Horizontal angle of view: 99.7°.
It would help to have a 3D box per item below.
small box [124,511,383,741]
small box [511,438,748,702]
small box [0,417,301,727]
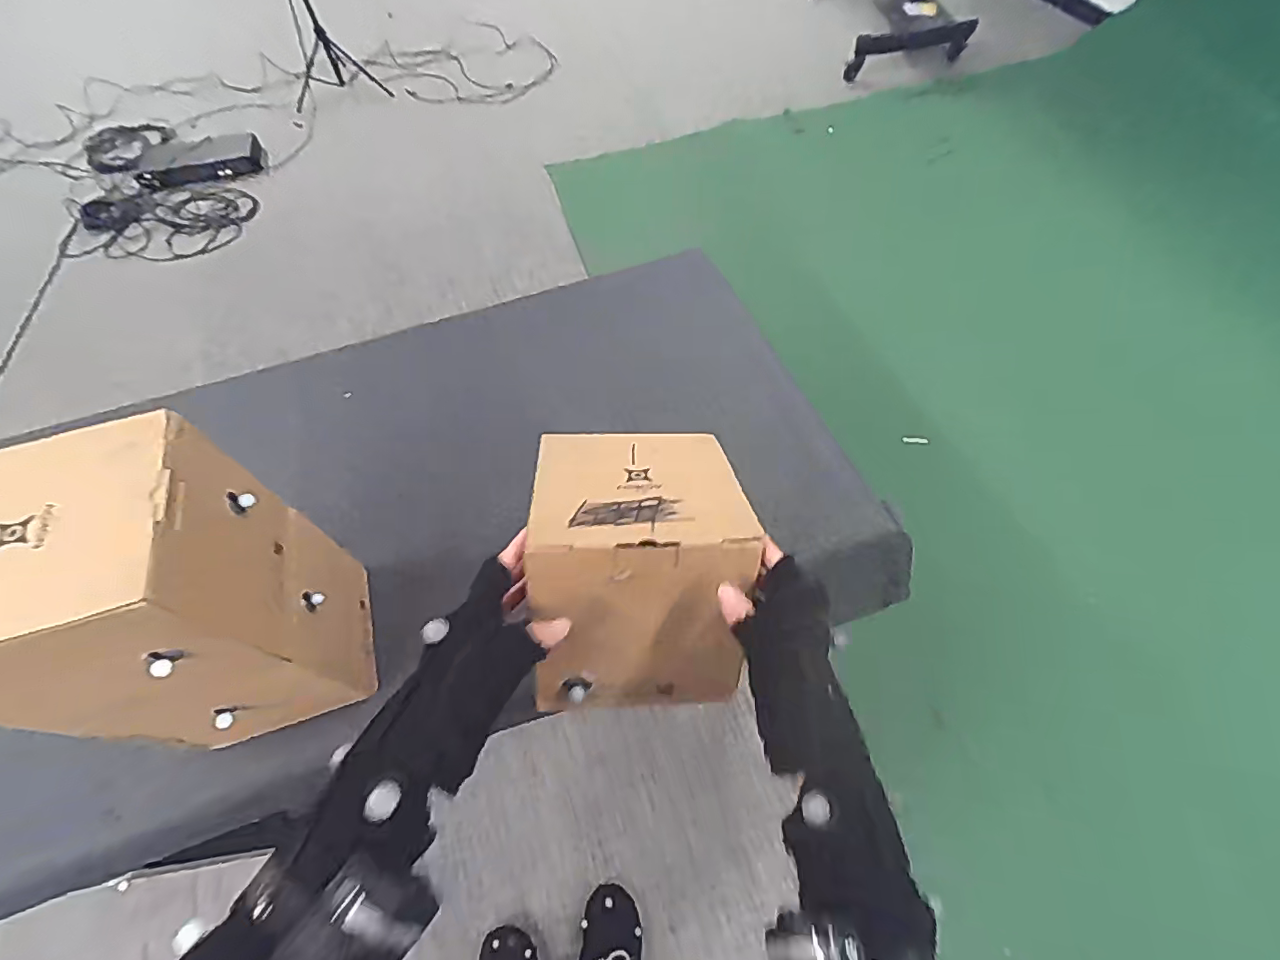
[{"bbox_3d":[-0.405,0.163,0.582,0.179,0.176,0.168,-17,60,-9],"label":"small box"},{"bbox_3d":[-0.013,0.076,0.475,0.168,0.176,0.179,0,30,-5],"label":"small box"},{"bbox_3d":[-0.407,0.081,0.441,0.179,0.176,0.168,-18,58,-8],"label":"small box"}]
